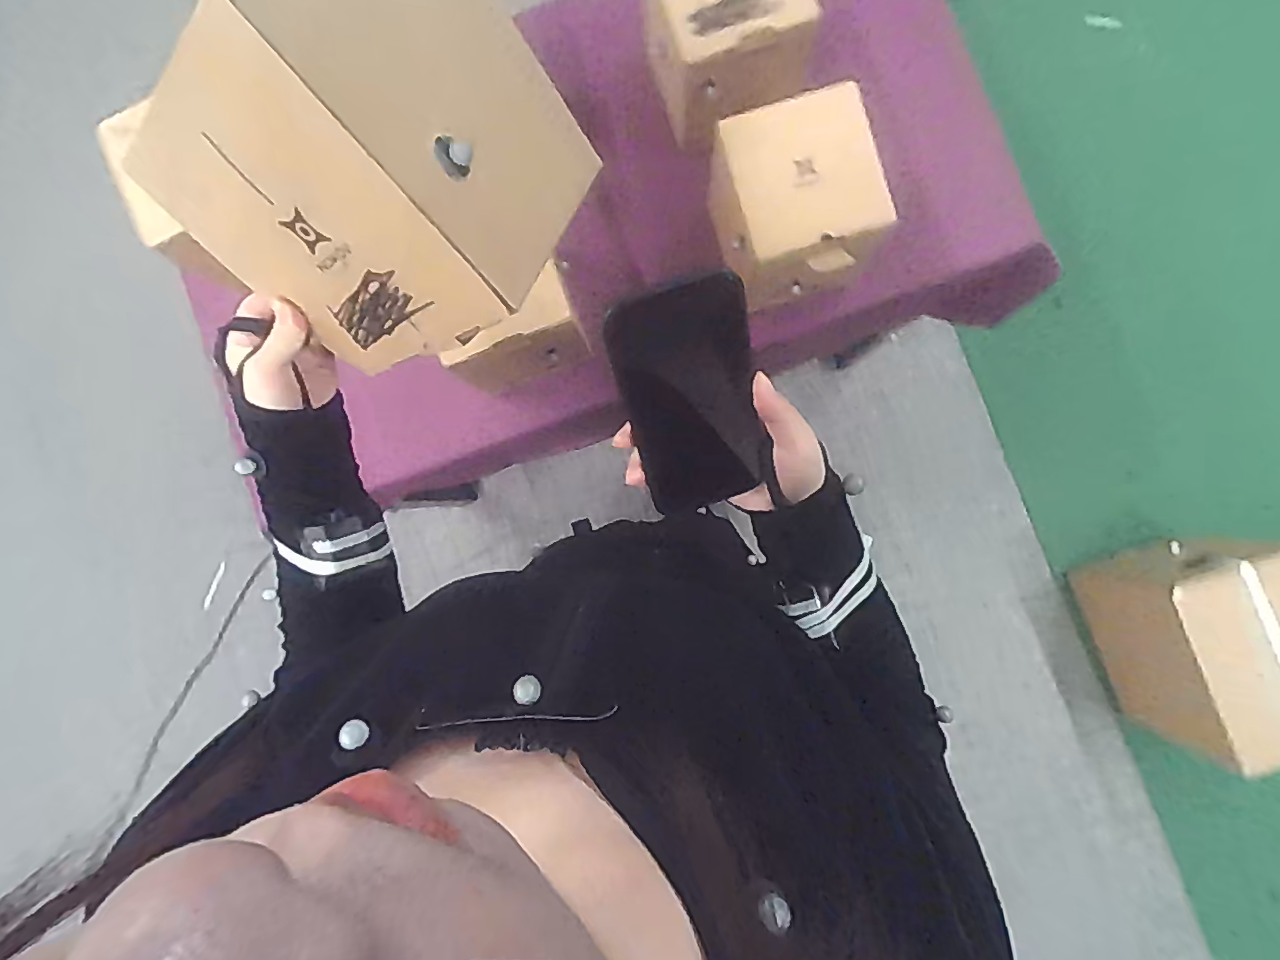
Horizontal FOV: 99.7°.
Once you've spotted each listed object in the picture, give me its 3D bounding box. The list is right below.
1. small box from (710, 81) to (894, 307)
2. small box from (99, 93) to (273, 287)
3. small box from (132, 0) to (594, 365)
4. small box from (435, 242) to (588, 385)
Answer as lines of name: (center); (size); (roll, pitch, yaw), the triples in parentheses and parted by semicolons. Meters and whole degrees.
small box: (0.192, -0.352, 0.698); (0.168, 0.176, 0.179); (-15, 87, 3)
small box: (-0.556, -0.390, 0.742); (0.168, 0.176, 0.179); (-24, 88, 1)
small box: (-0.157, -0.208, 0.353); (0.168, 0.179, 0.176); (-5, 52, 37)
small box: (-0.179, -0.237, 0.716); (0.168, 0.176, 0.179); (-20, 86, 2)
